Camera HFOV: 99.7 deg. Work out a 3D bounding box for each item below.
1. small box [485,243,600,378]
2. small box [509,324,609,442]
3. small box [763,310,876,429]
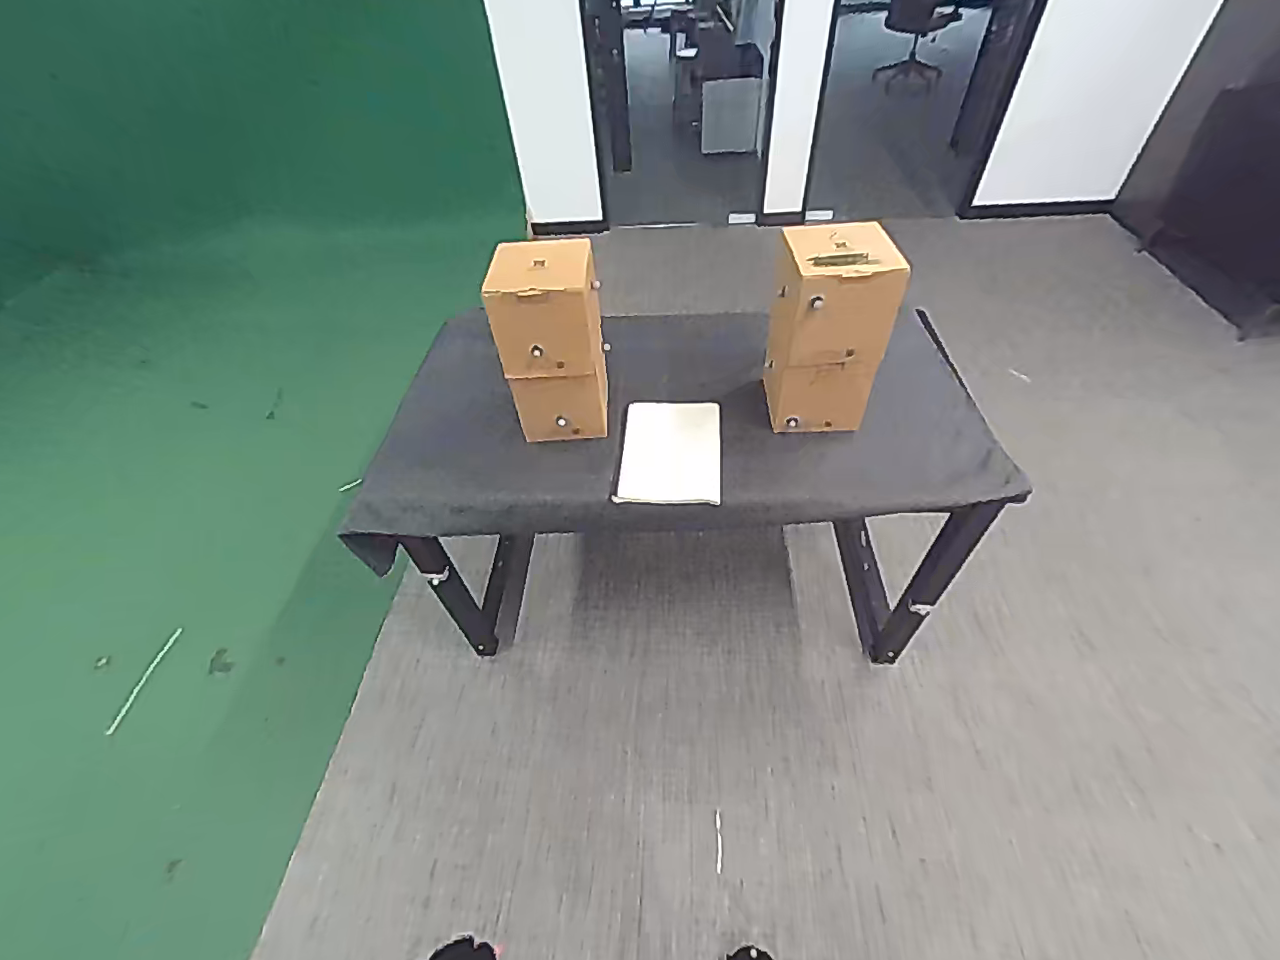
[{"bbox_3d":[-0.162,-0.300,0.962,0.168,0.176,0.179,-3,48,1],"label":"small box"},{"bbox_3d":[-0.154,-0.197,1.088,0.168,0.176,0.179,-4,48,1],"label":"small box"},{"bbox_3d":[0.341,-0.213,1.065,0.168,0.176,0.179,-1,47,3],"label":"small box"}]
